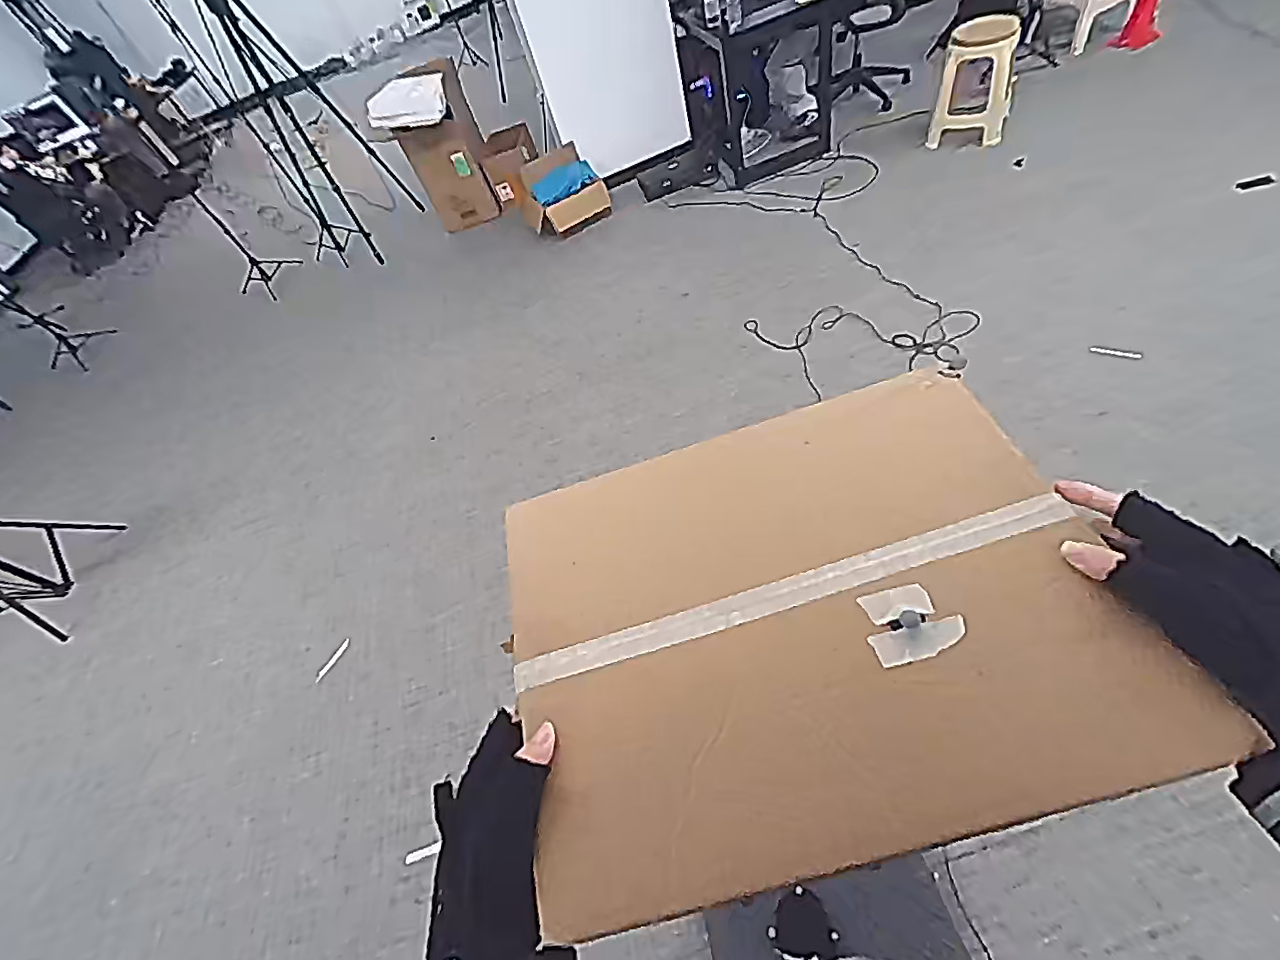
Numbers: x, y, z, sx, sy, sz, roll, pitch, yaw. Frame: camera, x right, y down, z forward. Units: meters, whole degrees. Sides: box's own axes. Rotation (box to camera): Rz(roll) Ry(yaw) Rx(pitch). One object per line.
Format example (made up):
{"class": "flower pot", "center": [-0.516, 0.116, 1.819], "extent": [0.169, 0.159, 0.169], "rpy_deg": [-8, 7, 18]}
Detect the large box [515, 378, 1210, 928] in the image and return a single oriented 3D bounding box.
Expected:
{"class": "large box", "center": [0.137, 0.171, 0.521], "extent": [0.408, 0.320, 0.320], "rpy_deg": [-19, 54, 3]}
